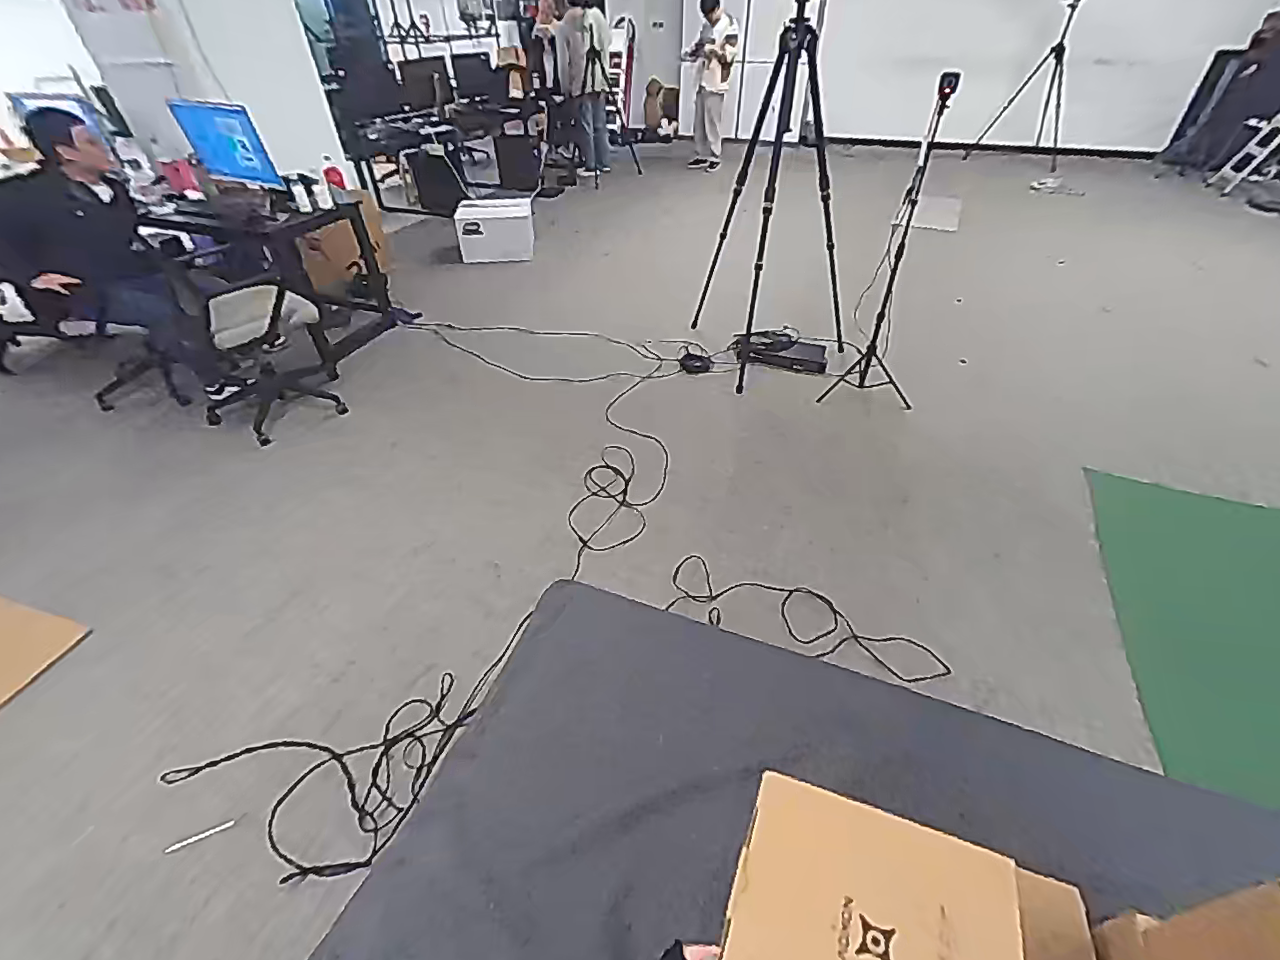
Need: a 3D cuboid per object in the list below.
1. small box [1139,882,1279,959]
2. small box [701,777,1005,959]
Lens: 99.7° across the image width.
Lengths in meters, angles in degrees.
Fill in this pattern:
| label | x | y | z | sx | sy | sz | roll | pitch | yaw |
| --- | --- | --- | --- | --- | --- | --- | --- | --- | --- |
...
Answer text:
| label | x | y | z | sx | sy | sz | roll | pitch | yaw |
| --- | --- | --- | --- | --- | --- | --- | --- | --- | --- |
| small box | 0.480 | 0.407 | 0.342 | 0.168 | 0.176 | 0.179 | 12 | 42 | 15 |
| small box | 0.146 | 0.366 | 0.397 | 0.179 | 0.176 | 0.168 | 10 | 40 | 23 |
